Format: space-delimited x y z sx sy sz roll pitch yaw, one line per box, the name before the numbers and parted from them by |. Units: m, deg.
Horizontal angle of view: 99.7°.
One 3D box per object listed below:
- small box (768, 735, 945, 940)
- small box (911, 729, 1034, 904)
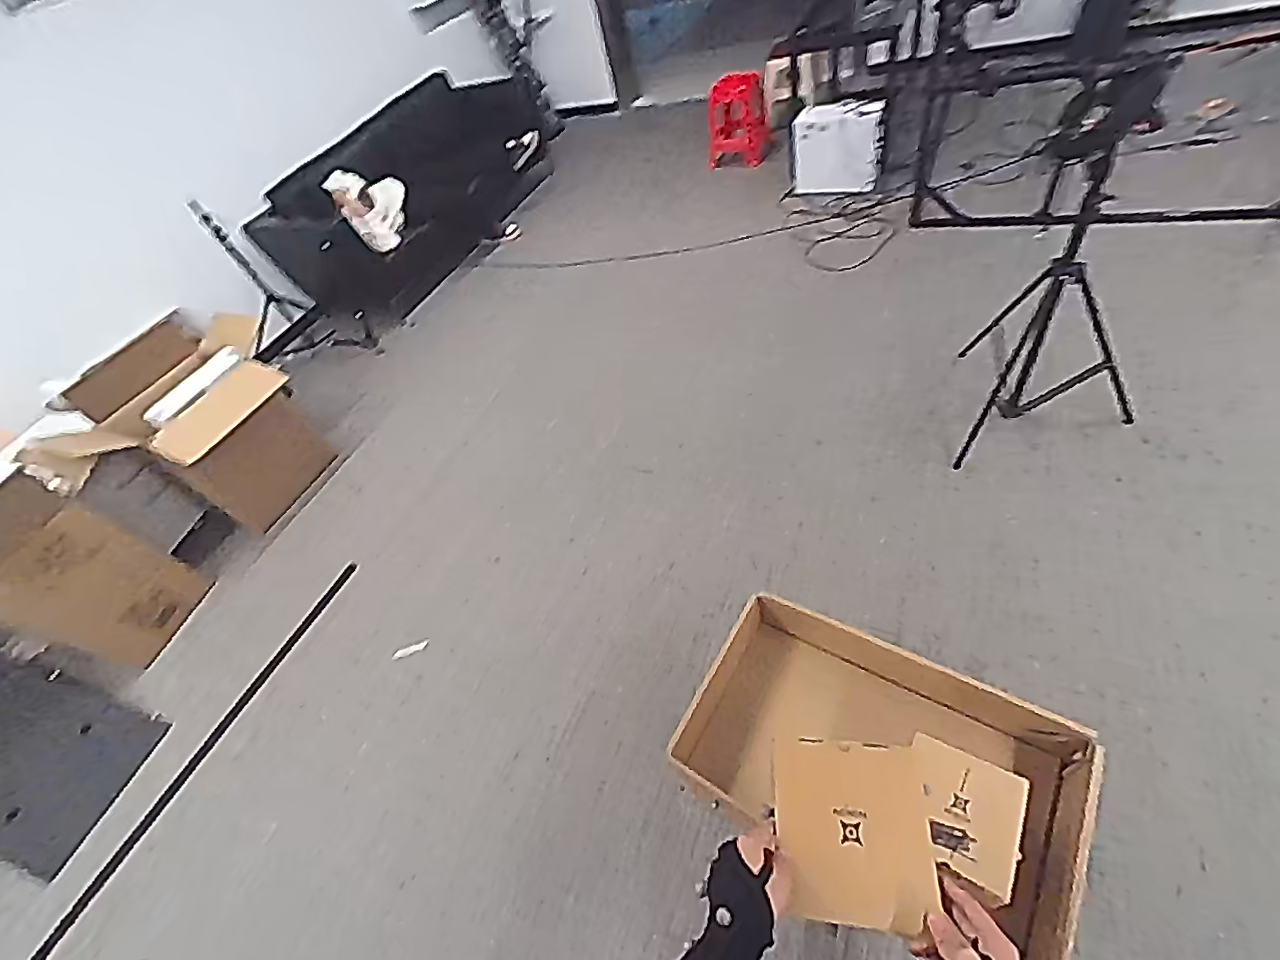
small box | 0.243 0.422 0.652 0.168 0.176 0.179 -2 55 11
small box | 0.507 0.547 0.877 0.168 0.176 0.179 17 57 29
